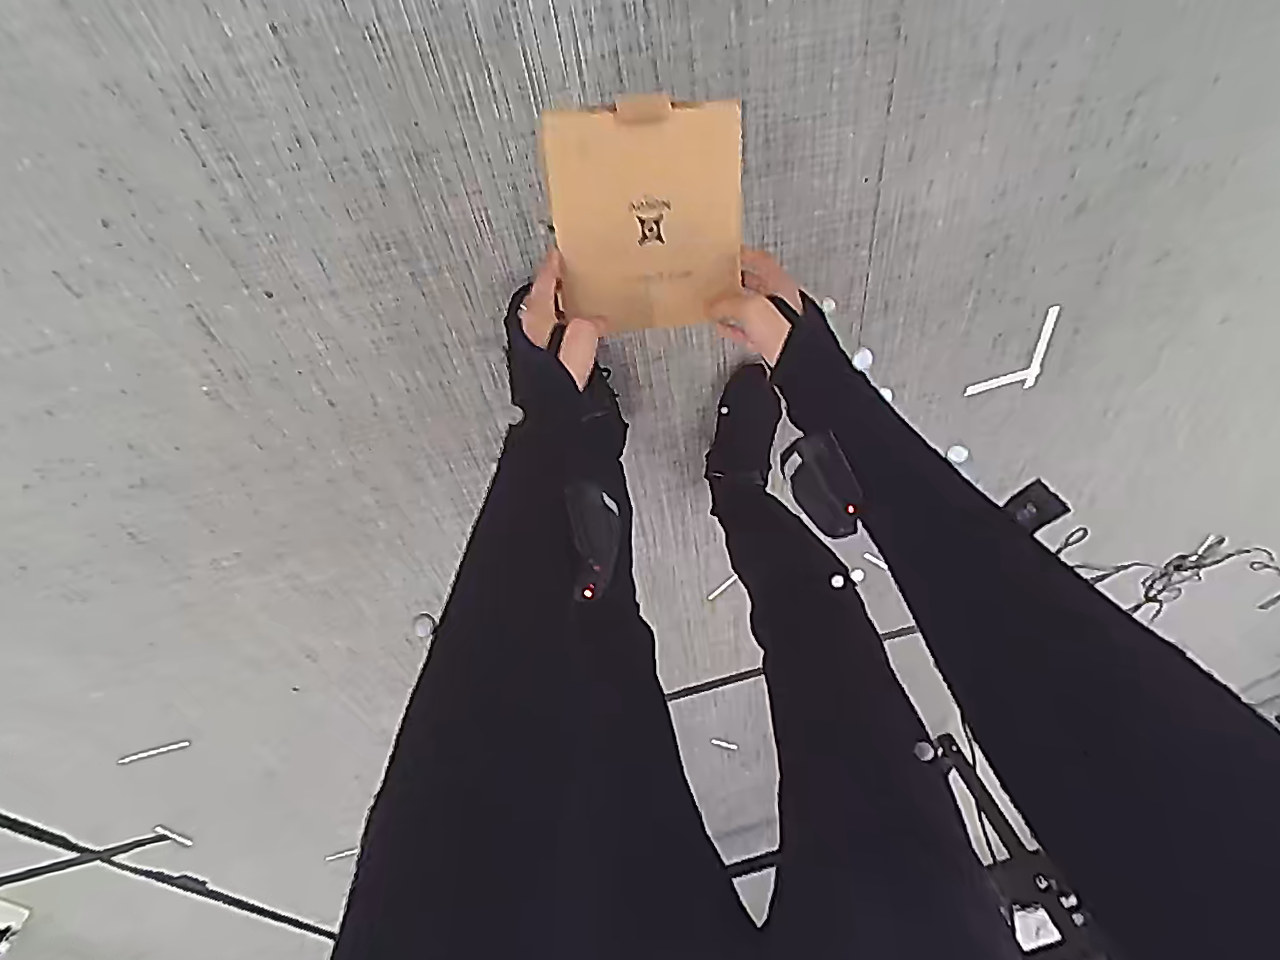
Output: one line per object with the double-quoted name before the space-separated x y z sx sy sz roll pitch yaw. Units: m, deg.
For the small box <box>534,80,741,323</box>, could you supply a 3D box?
"small box" -0.009 -0.255 0.523 0.168 0.176 0.179 -8 113 -7
